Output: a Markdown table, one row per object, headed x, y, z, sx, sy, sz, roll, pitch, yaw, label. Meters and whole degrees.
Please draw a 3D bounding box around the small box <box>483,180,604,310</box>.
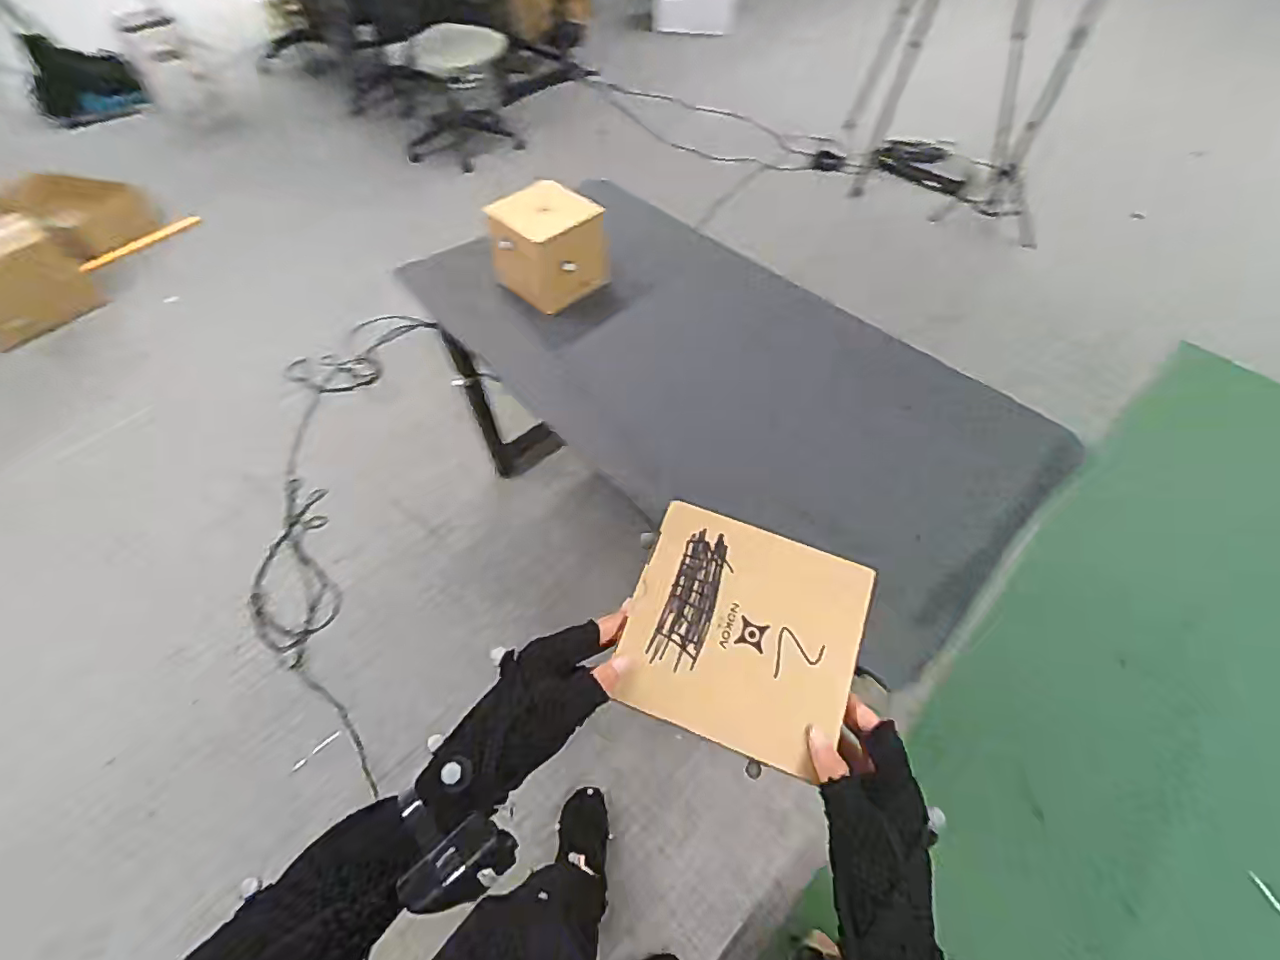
| x | y | z | sx | sy | sz | roll | pitch | yaw | label |
| --- | --- | --- | --- | --- | --- | --- | --- | --- | --- |
| -0.191 | -0.481 | 1.122 | 0.179 | 0.176 | 0.168 | 38 | 64 | 25 | small box |
